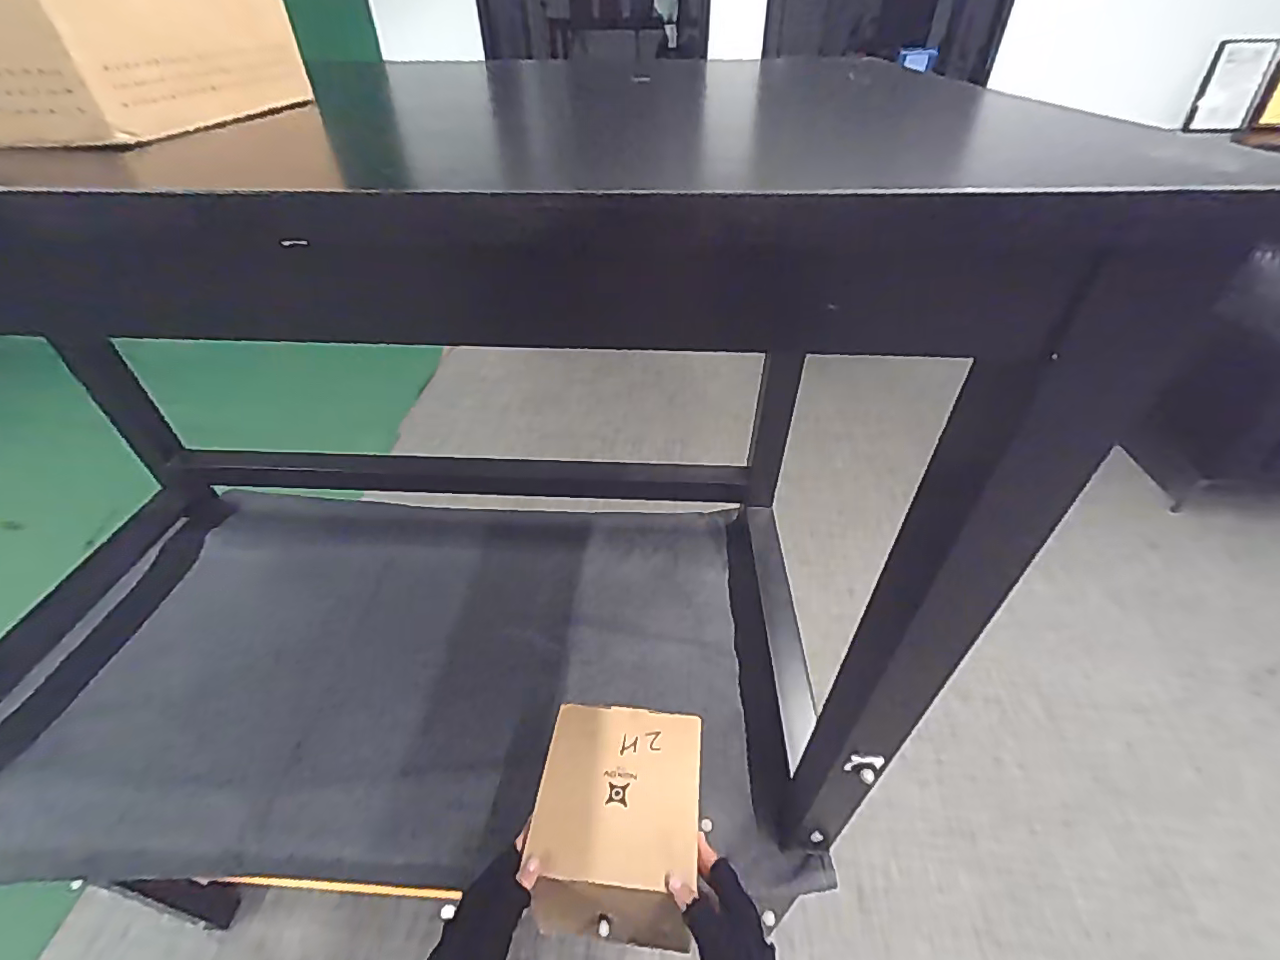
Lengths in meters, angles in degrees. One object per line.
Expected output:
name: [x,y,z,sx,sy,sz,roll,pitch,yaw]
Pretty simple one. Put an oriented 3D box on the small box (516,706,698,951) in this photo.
small box: [-0.023,0.385,0.602,0.168,0.176,0.179,4,35,6]
